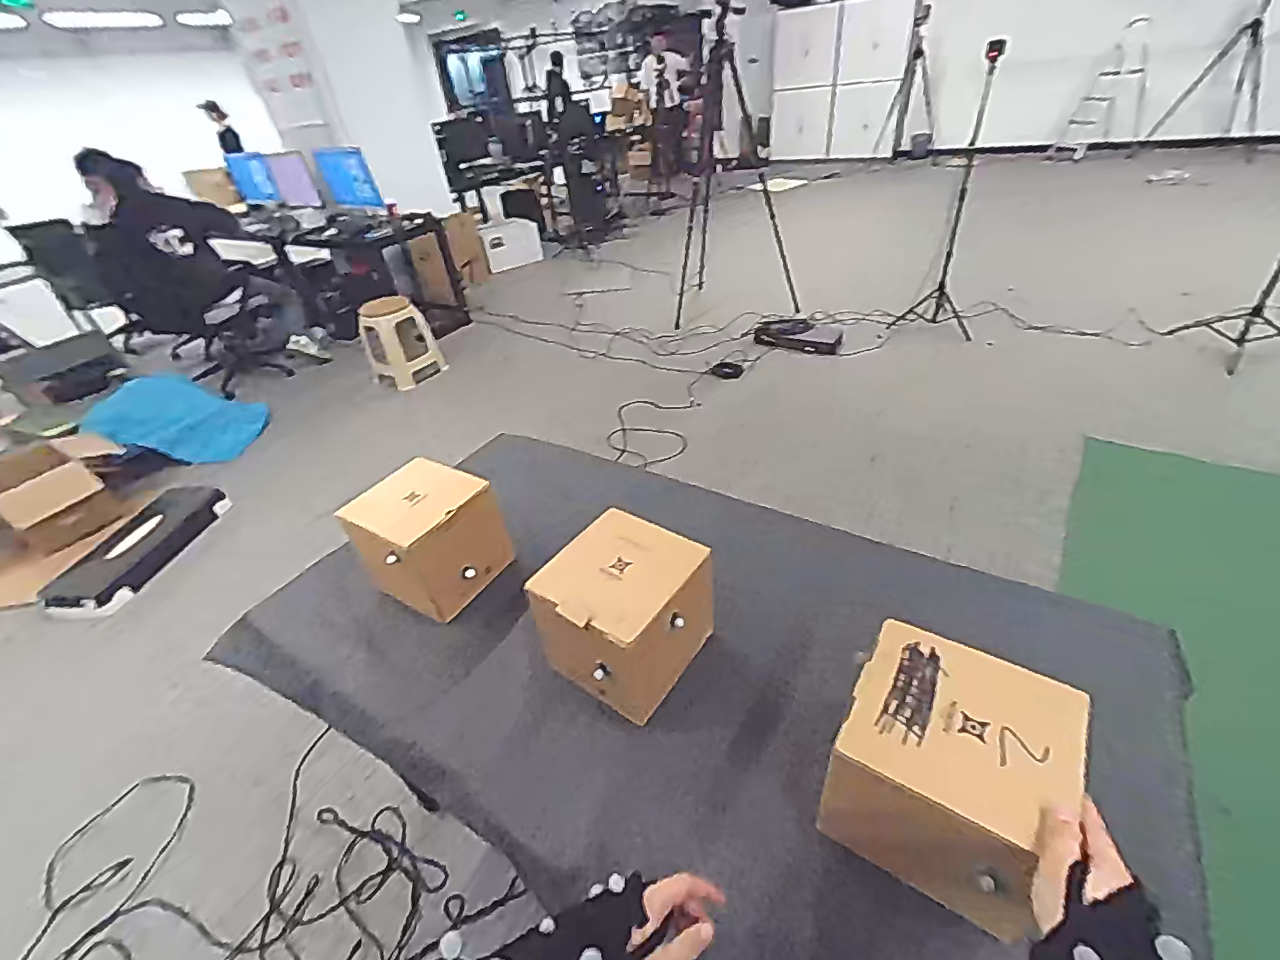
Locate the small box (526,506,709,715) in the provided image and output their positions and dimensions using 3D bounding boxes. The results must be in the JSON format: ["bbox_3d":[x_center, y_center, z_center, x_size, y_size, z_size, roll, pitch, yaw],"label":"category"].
[{"bbox_3d":[-0.018,0.170,0.717,0.168,0.176,0.179,21,44,31],"label":"small box"}]

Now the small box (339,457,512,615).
[{"bbox_3d":[-0.338,0.089,0.879,0.179,0.176,0.168,17,43,27],"label":"small box"}]
